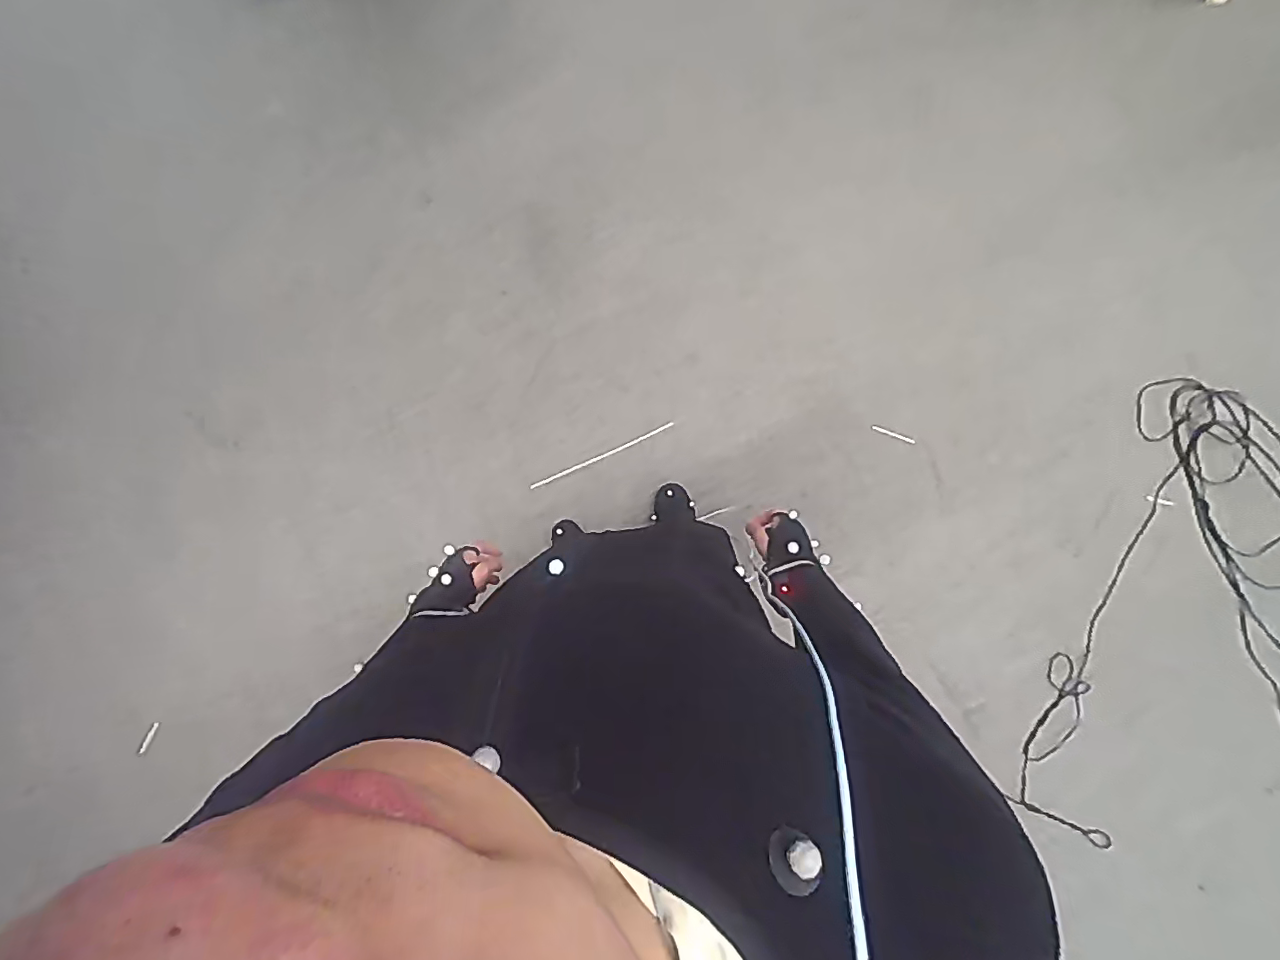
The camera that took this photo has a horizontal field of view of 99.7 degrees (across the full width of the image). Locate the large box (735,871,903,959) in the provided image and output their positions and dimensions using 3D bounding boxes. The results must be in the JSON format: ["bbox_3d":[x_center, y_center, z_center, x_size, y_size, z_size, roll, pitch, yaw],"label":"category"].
[{"bbox_3d":[0.528,1.393,1.461,0.408,0.320,0.320,-33,88,-2],"label":"large box"}]
